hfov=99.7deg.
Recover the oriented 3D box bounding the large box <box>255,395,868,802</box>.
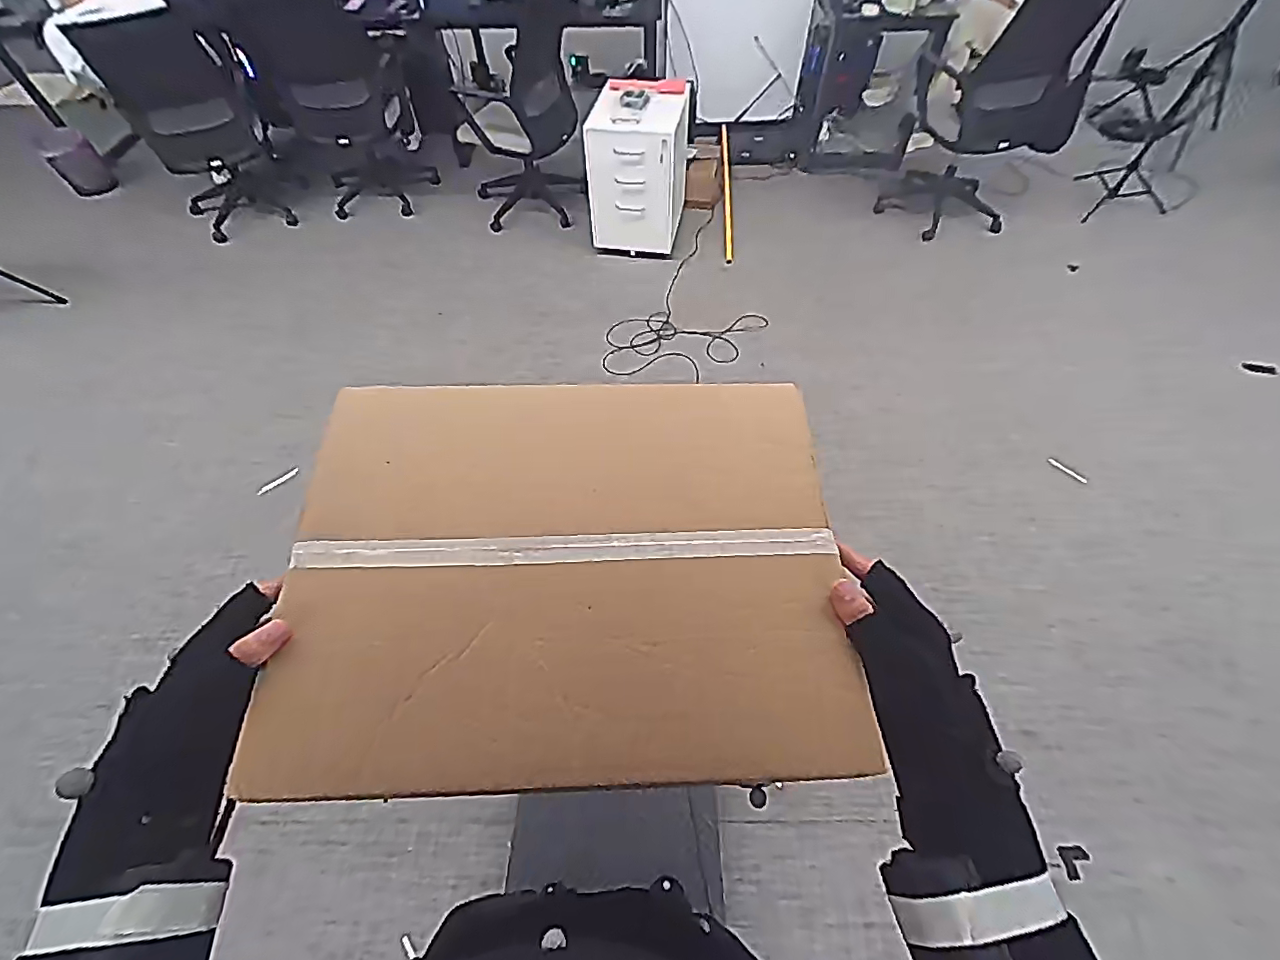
[{"bbox_3d":[-0.055,0.130,0.548,0.408,0.320,0.320,-1,61,-3],"label":"large box"}]
